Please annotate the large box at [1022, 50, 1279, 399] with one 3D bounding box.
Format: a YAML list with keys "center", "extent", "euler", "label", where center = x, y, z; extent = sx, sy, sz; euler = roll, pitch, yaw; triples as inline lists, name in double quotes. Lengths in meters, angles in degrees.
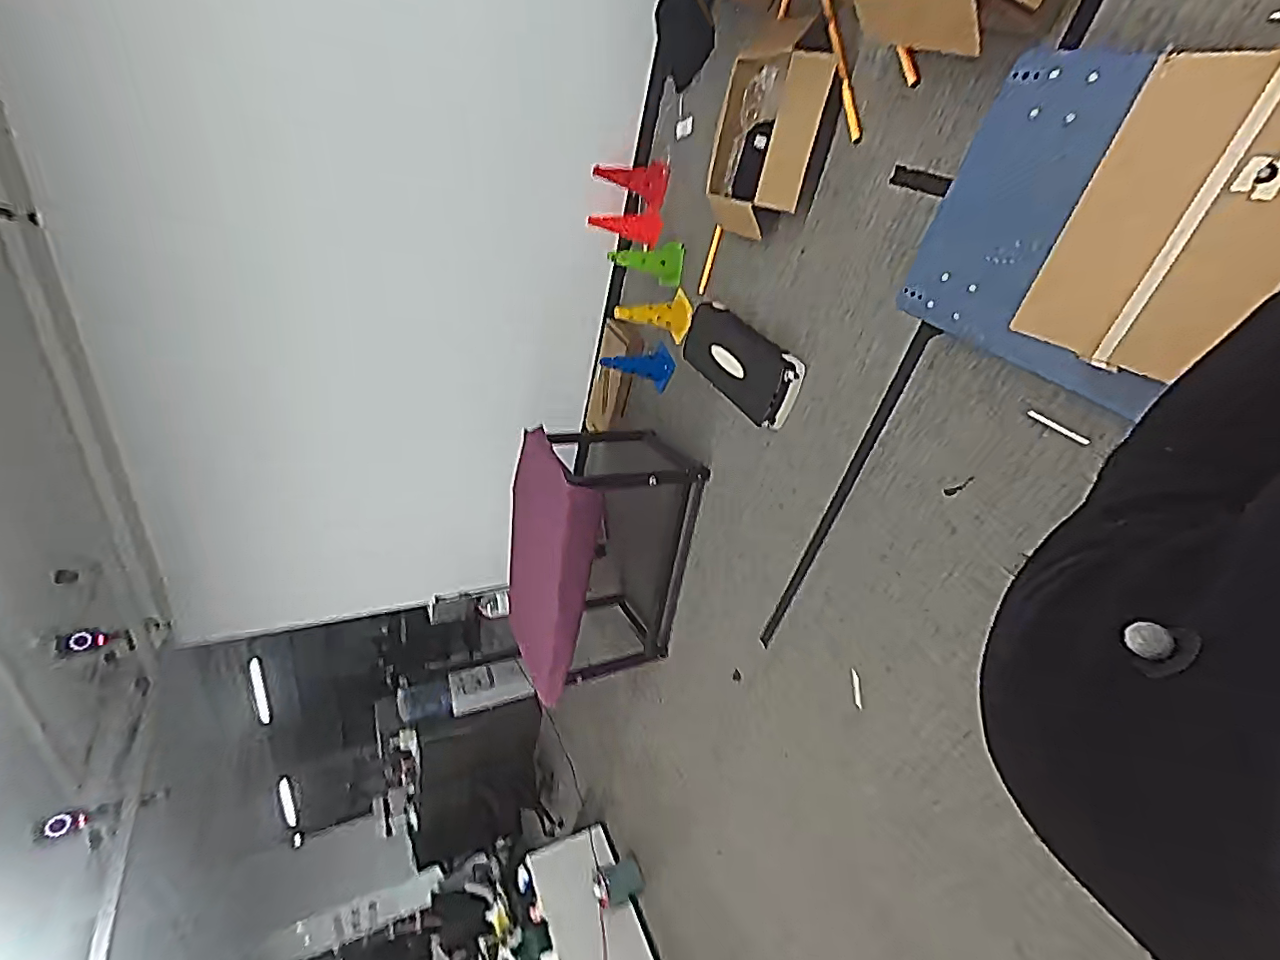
- center: [0.911, -0.366, 0.828]
  extent: [0.320, 0.320, 0.408]
  euler: [49, 133, 46]
  label: "large box"
